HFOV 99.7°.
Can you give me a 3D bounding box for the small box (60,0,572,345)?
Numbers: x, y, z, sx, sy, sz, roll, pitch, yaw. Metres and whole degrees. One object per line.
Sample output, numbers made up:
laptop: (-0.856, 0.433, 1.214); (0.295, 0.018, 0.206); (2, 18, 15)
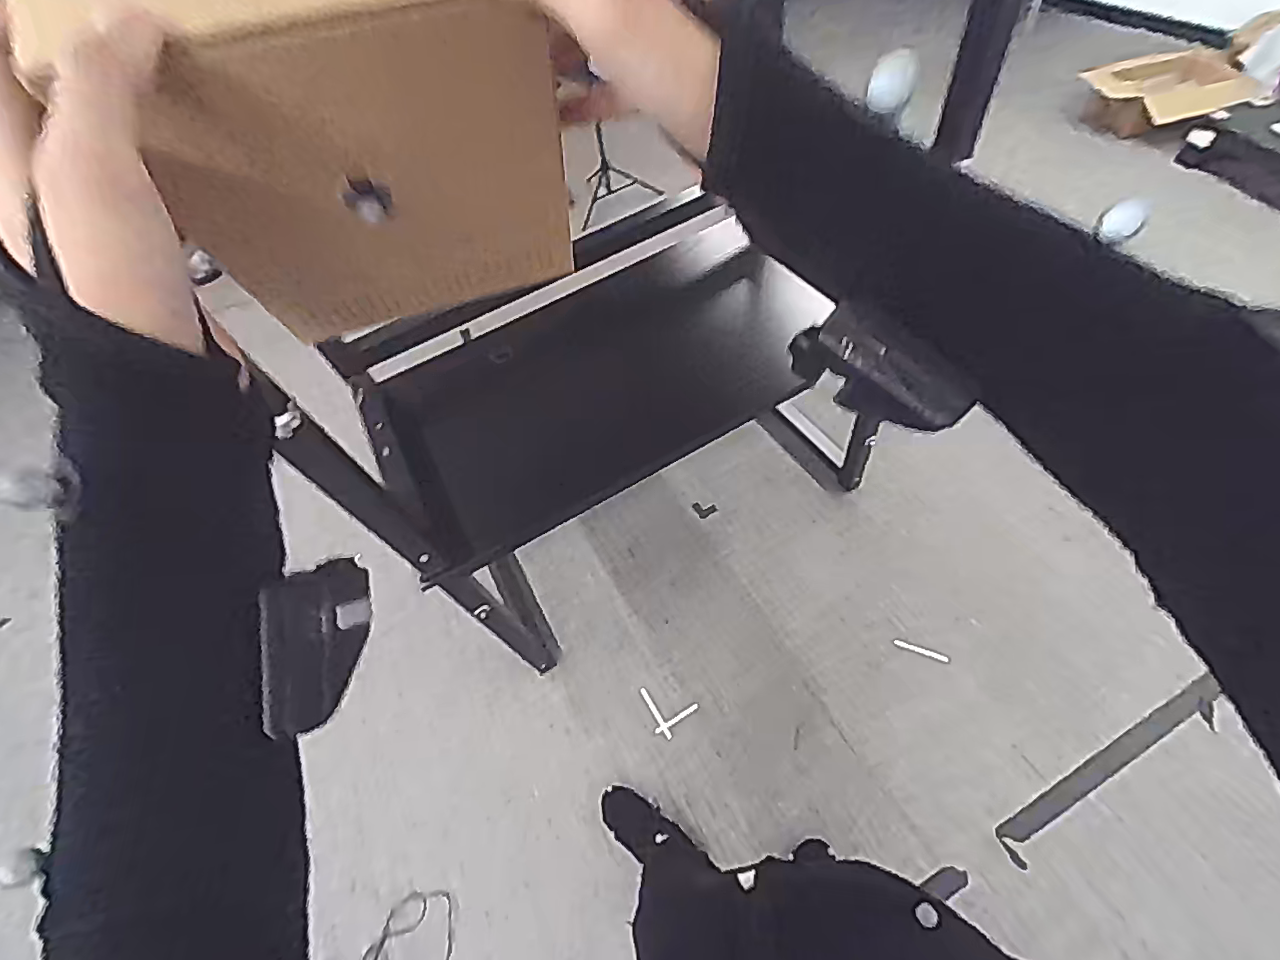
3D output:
small box: (-0.140, -0.200, 0.290); (0.179, 0.176, 0.168); (-18, 75, -7)
